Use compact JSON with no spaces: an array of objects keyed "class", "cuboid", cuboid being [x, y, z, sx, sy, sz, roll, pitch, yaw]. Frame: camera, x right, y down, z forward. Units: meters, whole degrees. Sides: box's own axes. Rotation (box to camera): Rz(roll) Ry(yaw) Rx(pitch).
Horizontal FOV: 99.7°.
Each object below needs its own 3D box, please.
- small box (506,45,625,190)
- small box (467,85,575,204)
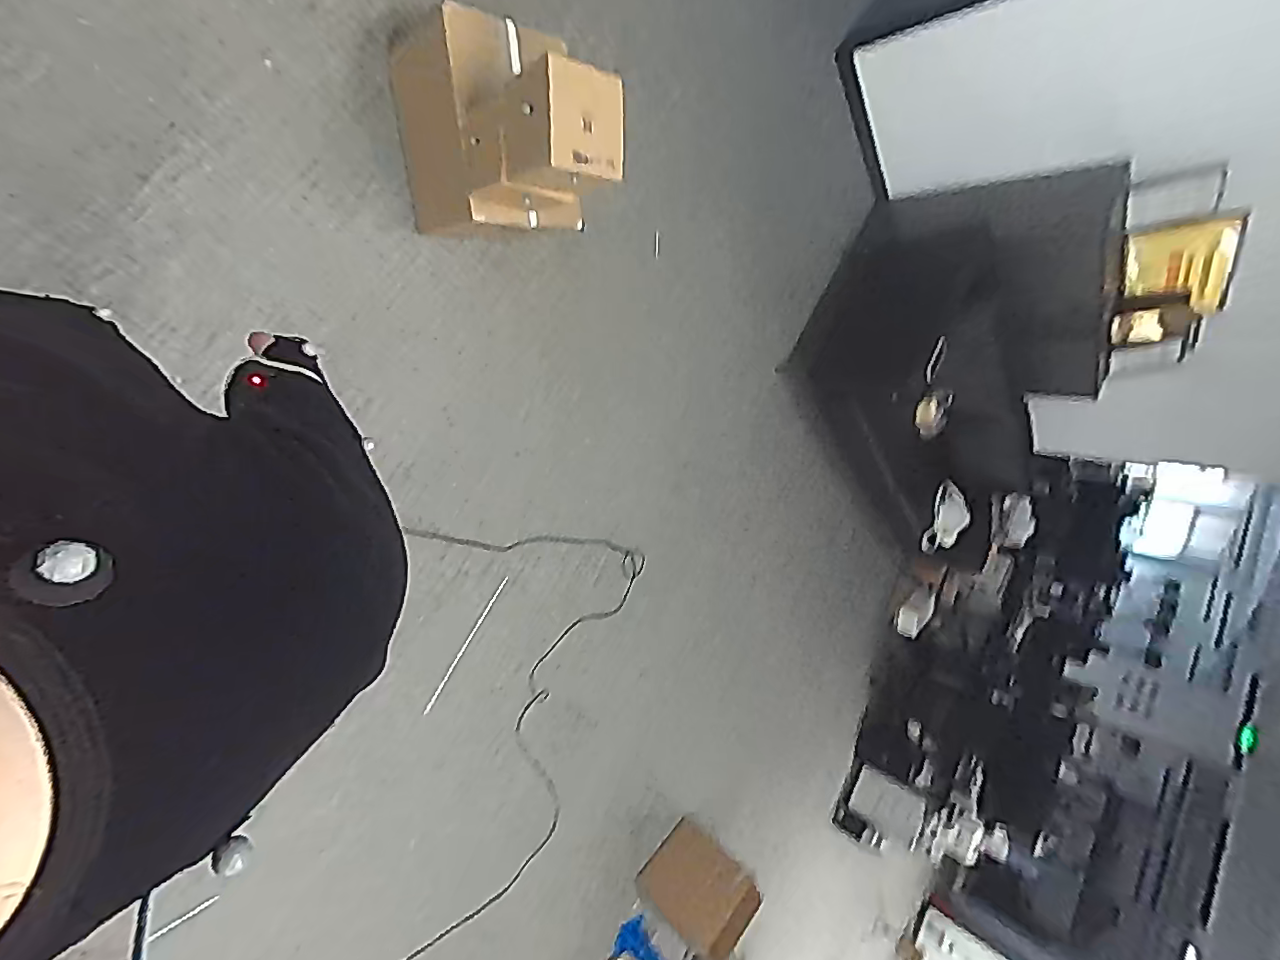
[{"class":"small box","cuboid":[-0.145,-0.681,1.040,0.168,0.176,0.179,-13,111,-38]},{"class":"small box","cuboid":[-0.254,-0.705,1.162,0.179,0.176,0.168,-8,108,-40]}]
